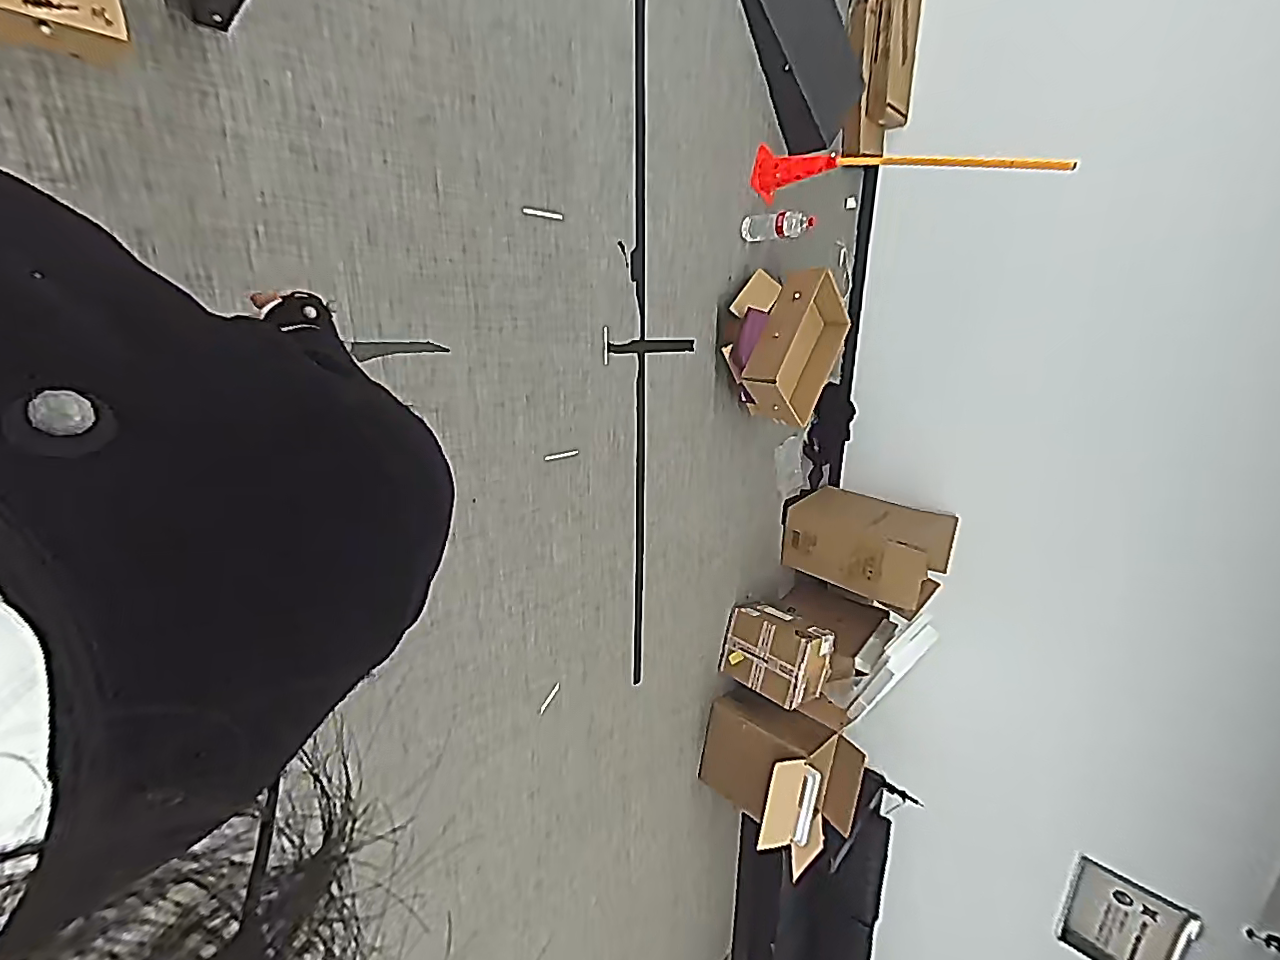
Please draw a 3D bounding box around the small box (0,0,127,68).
[{"bbox_3d":[-0.969,-0.815,0.874,0.168,0.176,0.179,-17,113,-43],"label":"small box"}]
